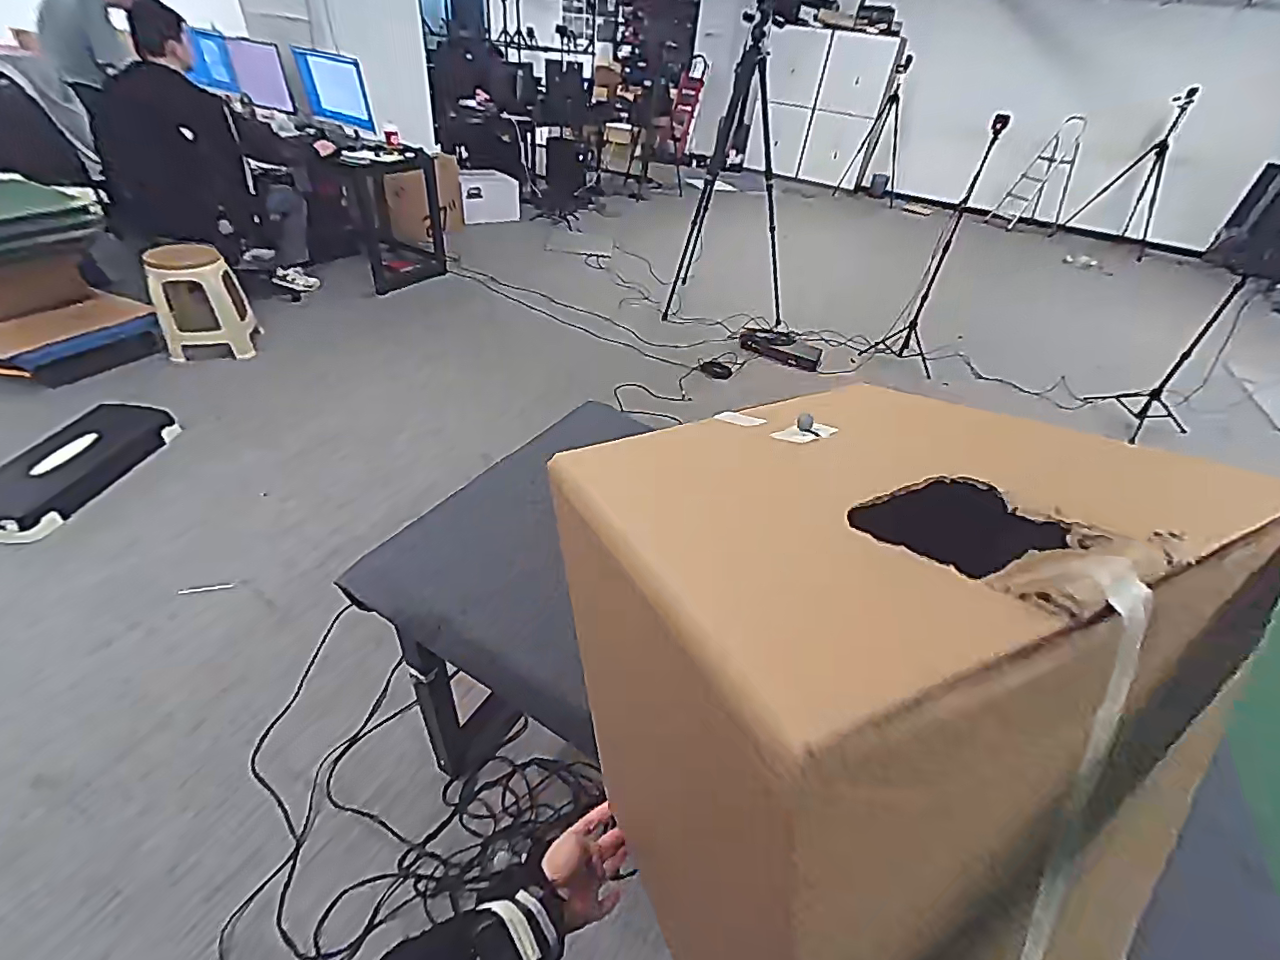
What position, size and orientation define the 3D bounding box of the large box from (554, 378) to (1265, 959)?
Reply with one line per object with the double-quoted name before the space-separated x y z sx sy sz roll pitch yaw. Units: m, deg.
"large box" 0.150 0.168 0.437 0.320 0.408 0.320 -16 27 -19
